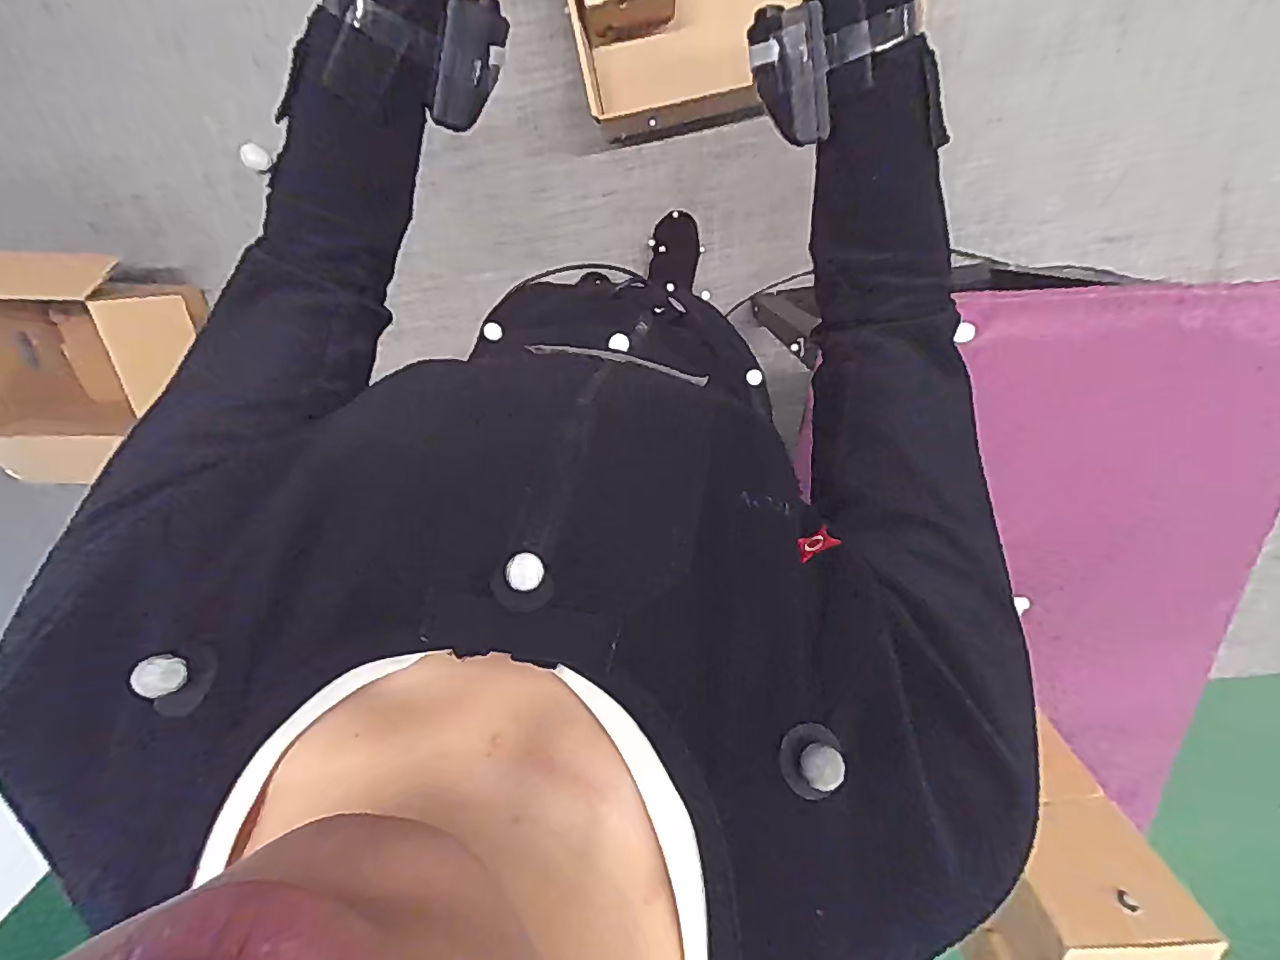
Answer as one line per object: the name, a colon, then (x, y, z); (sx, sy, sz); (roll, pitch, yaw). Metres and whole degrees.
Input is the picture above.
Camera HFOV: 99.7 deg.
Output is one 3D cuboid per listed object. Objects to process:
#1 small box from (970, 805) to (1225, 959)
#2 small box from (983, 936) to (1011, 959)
small box: (0.579, 0.559, 0.714); (0.179, 0.176, 0.168); (-6, 114, 4)
small box: (0.655, 0.835, 0.836); (0.179, 0.176, 0.168); (-6, 115, 5)
